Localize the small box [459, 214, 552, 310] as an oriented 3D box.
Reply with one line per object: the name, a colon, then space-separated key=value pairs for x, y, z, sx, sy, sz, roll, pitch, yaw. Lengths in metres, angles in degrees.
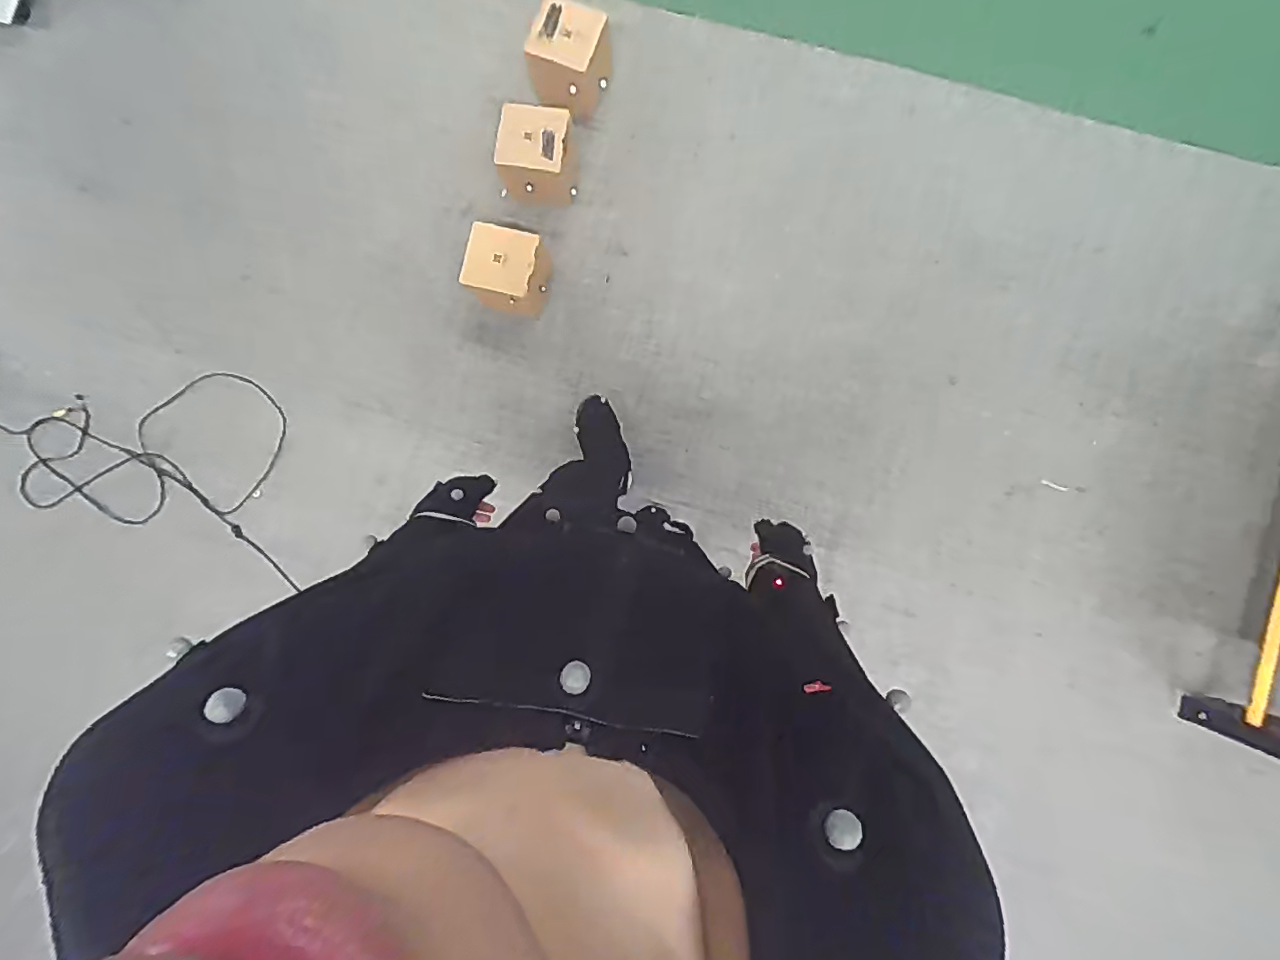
small box: x=-0.348 y=-0.566 z=1.426 sx=0.179 sy=0.176 sz=0.168 roll=13 pitch=89 yaw=2

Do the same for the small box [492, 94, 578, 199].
small box: x=-0.270 y=-0.874 z=1.432 sx=0.179 sy=0.176 sz=0.168 roll=9 pitch=88 yaw=3
